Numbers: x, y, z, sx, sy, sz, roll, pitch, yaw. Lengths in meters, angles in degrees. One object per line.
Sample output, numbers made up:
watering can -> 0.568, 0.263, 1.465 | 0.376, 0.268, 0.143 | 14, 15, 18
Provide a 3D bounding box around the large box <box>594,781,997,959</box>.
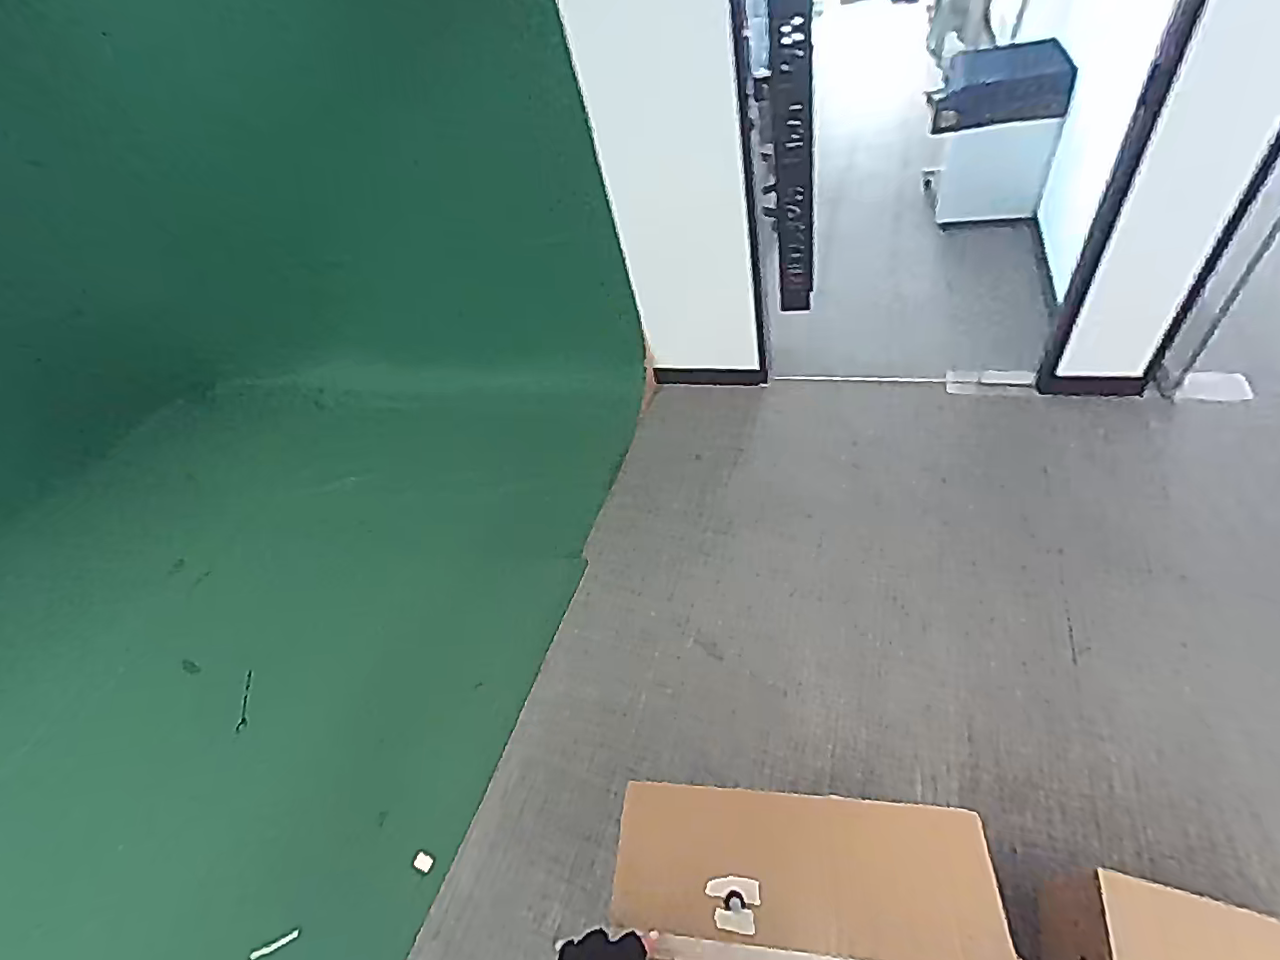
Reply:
large box -> 0.177, 0.582, 0.651 | 0.408, 0.320, 0.320 | -3, 48, 13
